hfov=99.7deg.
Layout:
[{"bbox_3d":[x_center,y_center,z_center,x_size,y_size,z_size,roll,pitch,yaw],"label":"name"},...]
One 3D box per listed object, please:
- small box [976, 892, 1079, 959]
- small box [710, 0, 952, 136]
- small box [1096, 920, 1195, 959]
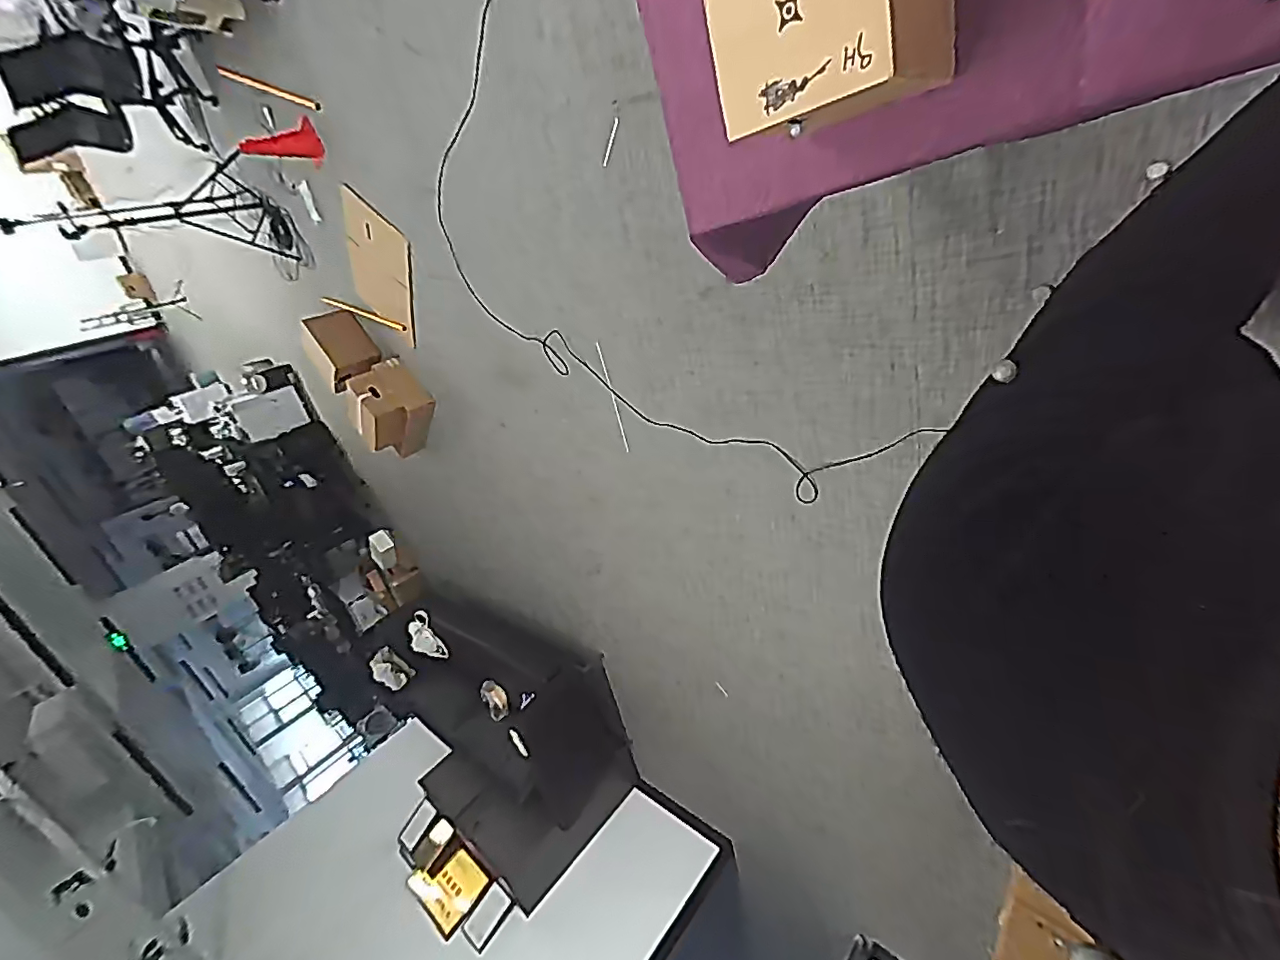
[{"bbox_3d":[0.946,1.177,1.327,0.168,0.176,0.179,19,131,38],"label":"small box"},{"bbox_3d":[0.184,-0.452,0.517,0.168,0.176,0.179,10,123,44],"label":"small box"},{"bbox_3d":[1.240,1.242,1.334,0.179,0.176,0.168,9,126,43],"label":"small box"}]
